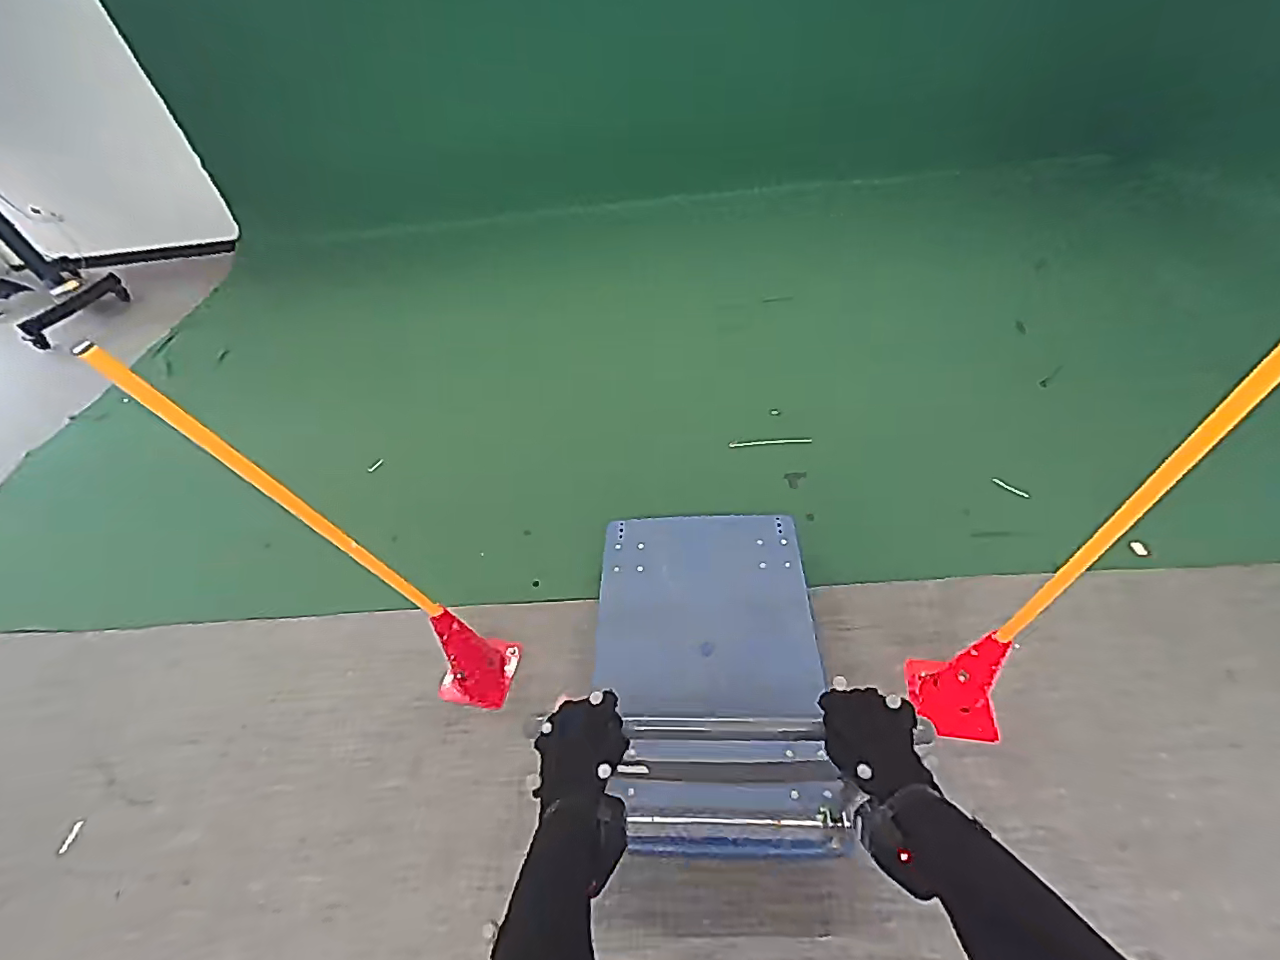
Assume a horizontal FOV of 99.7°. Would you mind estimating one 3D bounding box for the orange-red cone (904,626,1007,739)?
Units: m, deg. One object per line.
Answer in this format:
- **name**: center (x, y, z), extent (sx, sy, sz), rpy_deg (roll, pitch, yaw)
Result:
- **orange-red cone**: center (0.789, 0.450, 1.291), extent (0.198, 0.360, 0.199), rpy_deg (4, 49, 12)
